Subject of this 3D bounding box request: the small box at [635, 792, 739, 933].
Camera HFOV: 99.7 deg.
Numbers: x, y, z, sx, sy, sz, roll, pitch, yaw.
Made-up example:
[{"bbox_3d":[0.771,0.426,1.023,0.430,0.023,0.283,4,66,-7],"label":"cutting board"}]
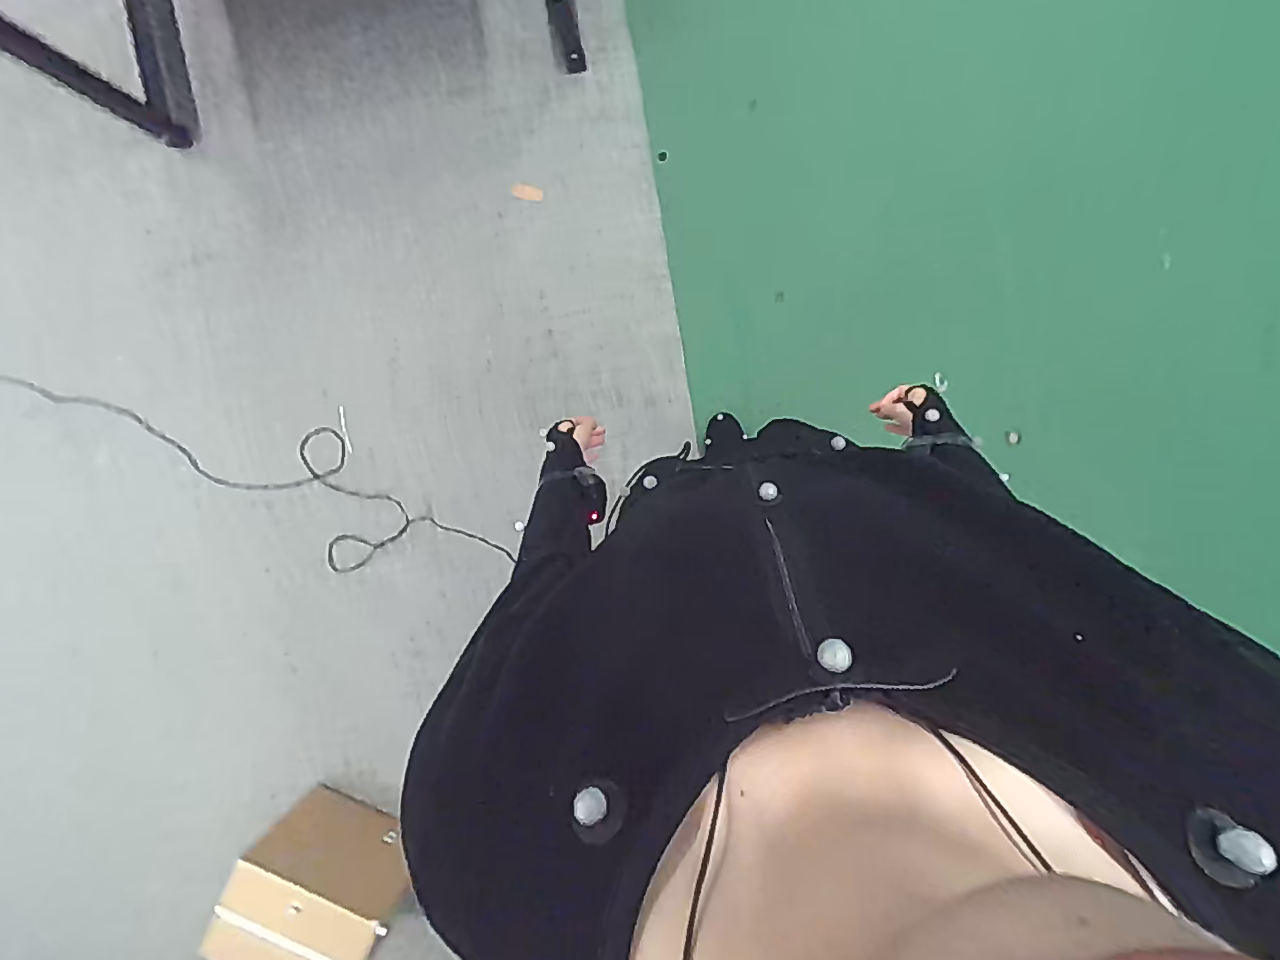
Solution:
[{"bbox_3d":[0.101,0.822,1.180,0.179,0.176,0.168,-20,91,6],"label":"small box"}]
